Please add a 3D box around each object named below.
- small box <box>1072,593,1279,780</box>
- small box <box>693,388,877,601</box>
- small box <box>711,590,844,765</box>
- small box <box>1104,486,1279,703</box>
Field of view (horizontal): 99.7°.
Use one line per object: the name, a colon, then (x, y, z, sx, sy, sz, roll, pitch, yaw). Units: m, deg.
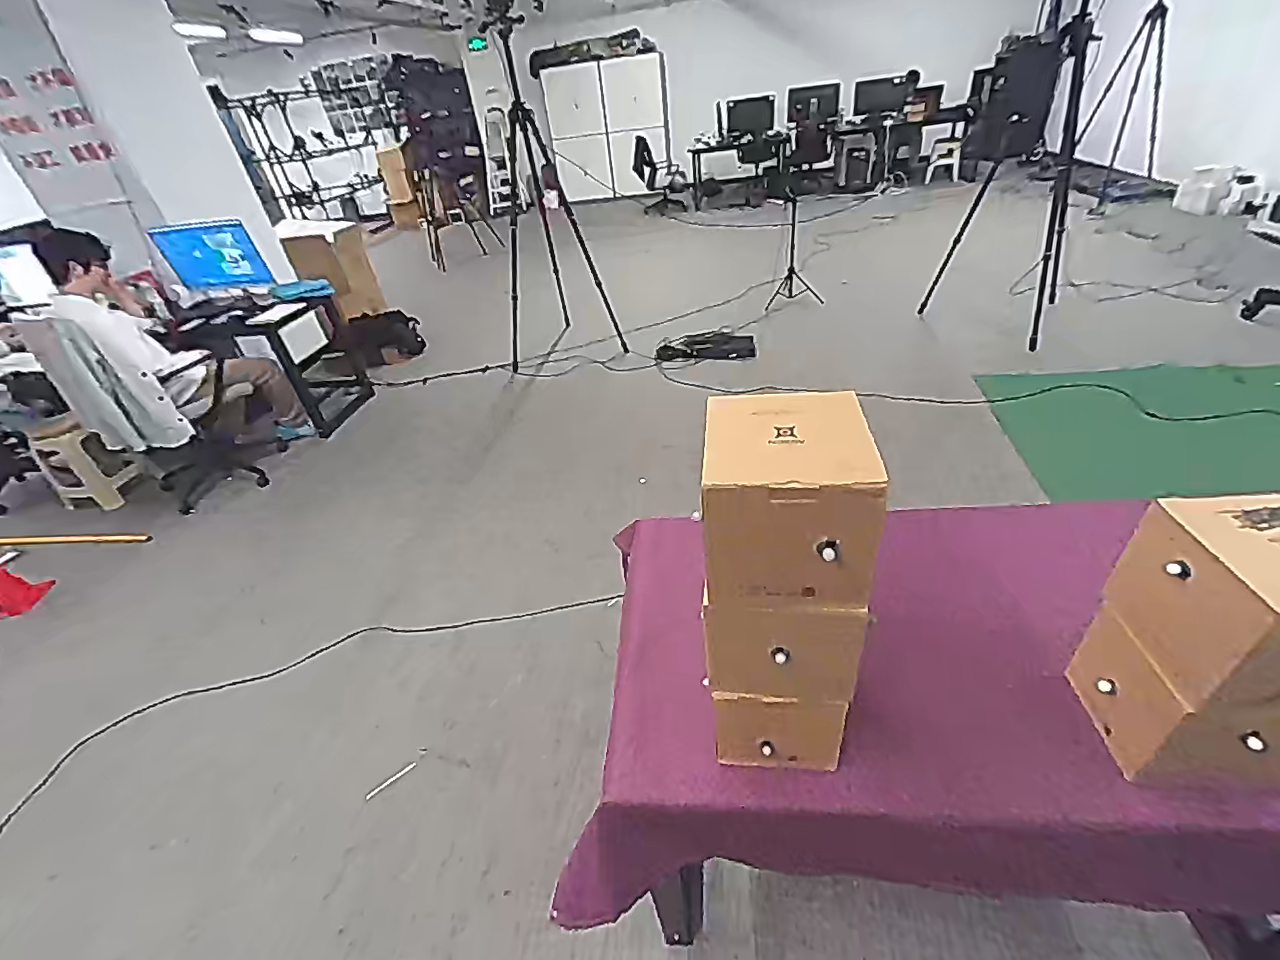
small box: (0.703, 0.263, 0.697, 0.179, 0.176, 0.168, -2, 37, 10)
small box: (0.151, 0.017, 0.598, 0.168, 0.176, 0.179, -1, 36, 10)
small box: (0.189, 0.282, 0.786, 0.168, 0.176, 0.179, -2, 37, 9)
small box: (0.682, 0.126, 0.607, 0.168, 0.176, 0.179, -4, 37, 8)
